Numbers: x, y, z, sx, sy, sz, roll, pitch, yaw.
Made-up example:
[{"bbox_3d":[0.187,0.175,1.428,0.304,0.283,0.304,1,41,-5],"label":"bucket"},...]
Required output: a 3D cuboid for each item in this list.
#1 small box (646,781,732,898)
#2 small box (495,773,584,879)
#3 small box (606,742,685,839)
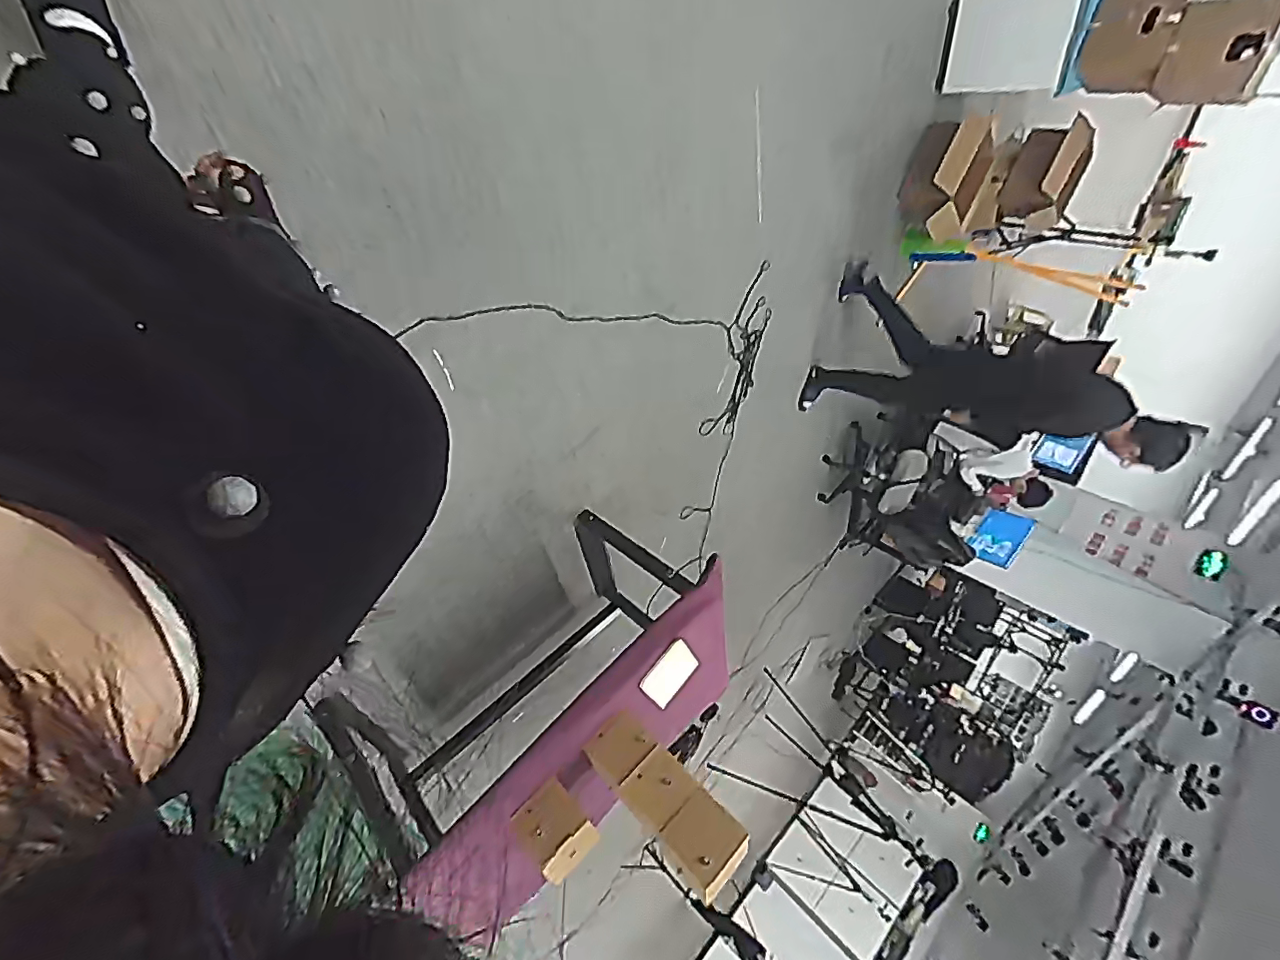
[{"bbox_3d":[0.127,0.965,1.459,0.179,0.176,0.168,-35,139,-30],"label":"small box"},{"bbox_3d":[-0.287,0.975,1.536,0.168,0.176,0.179,-36,140,-28],"label":"small box"},{"bbox_3d":[0.018,0.895,1.562,0.168,0.176,0.179,-37,140,-28],"label":"small box"}]
